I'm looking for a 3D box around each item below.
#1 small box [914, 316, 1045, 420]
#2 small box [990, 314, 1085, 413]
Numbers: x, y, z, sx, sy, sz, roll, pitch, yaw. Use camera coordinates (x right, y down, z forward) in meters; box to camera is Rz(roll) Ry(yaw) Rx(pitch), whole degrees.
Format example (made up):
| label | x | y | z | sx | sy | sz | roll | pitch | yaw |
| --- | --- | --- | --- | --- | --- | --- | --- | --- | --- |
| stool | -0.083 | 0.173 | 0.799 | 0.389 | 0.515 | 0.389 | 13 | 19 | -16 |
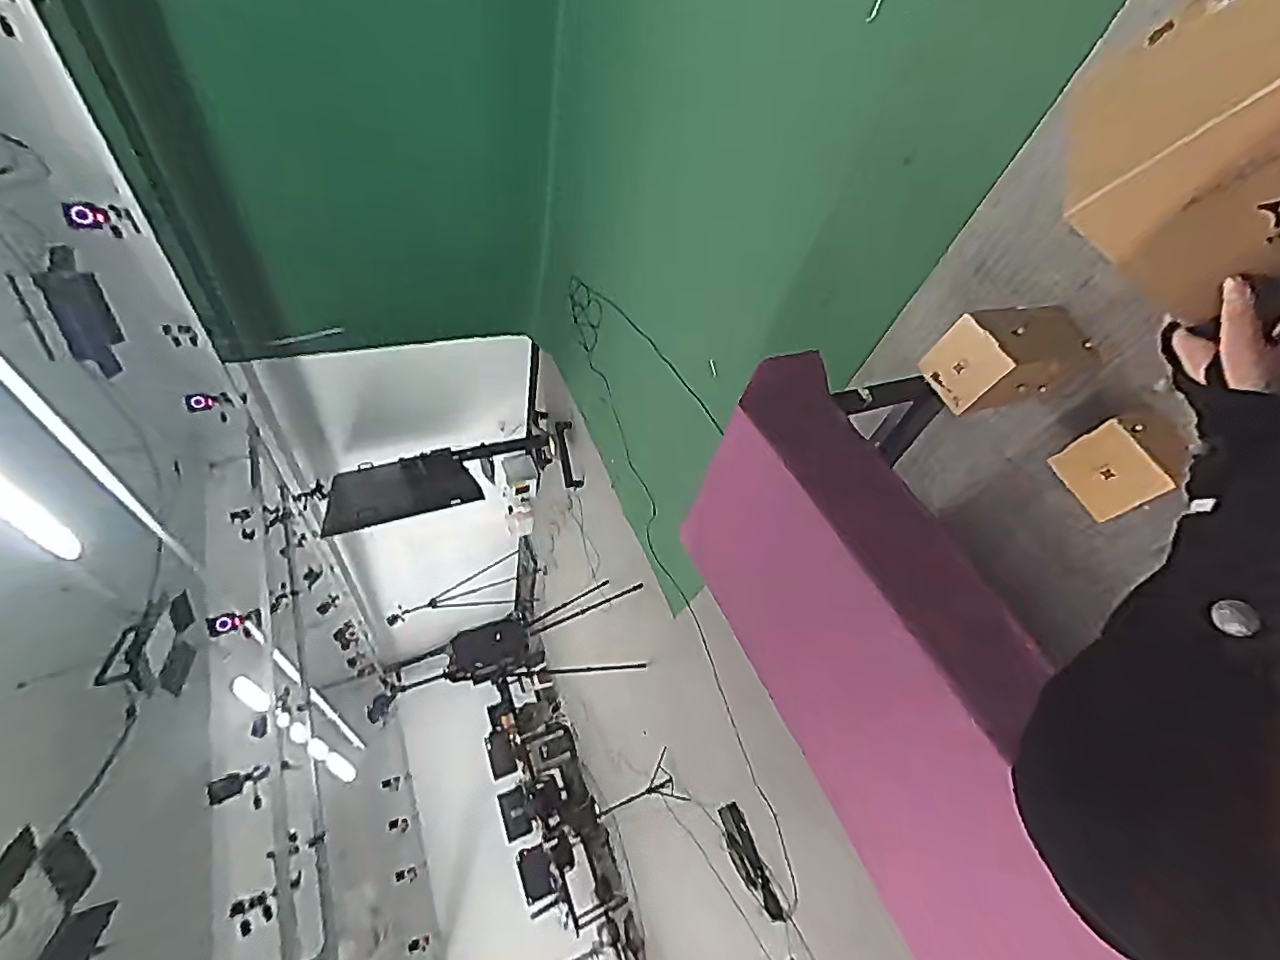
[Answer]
| label | x | y | z | sx | sy | sz | roll | pitch | yaw |
| --- | --- | --- | --- | --- | --- | --- | --- | --- | --- |
| small box | 0.805 | -0.267 | 1.274 | 0.168 | 0.176 | 0.179 | 66 | 153 | 25 |
| small box | 0.951 | -0.292 | 1.345 | 0.168 | 0.176 | 0.179 | 68 | 155 | 21 |
